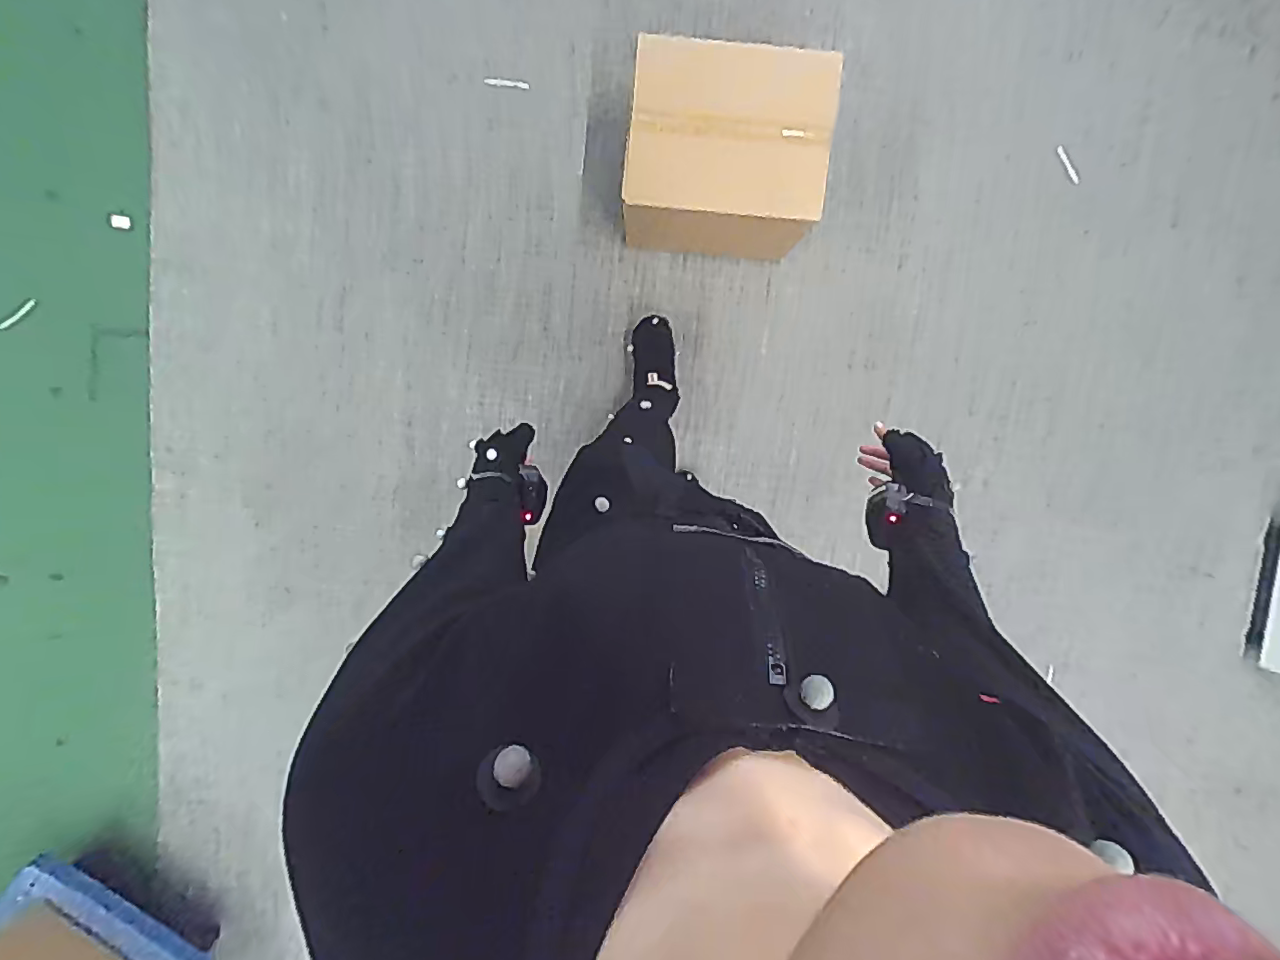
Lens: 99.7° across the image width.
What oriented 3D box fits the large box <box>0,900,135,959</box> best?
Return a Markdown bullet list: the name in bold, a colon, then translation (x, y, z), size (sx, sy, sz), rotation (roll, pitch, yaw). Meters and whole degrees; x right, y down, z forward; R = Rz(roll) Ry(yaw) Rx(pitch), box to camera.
- **large box**: translation (-1.513, 1.336, 1.284), size (0.408, 0.320, 0.320), rotation (41, 96, -6)
